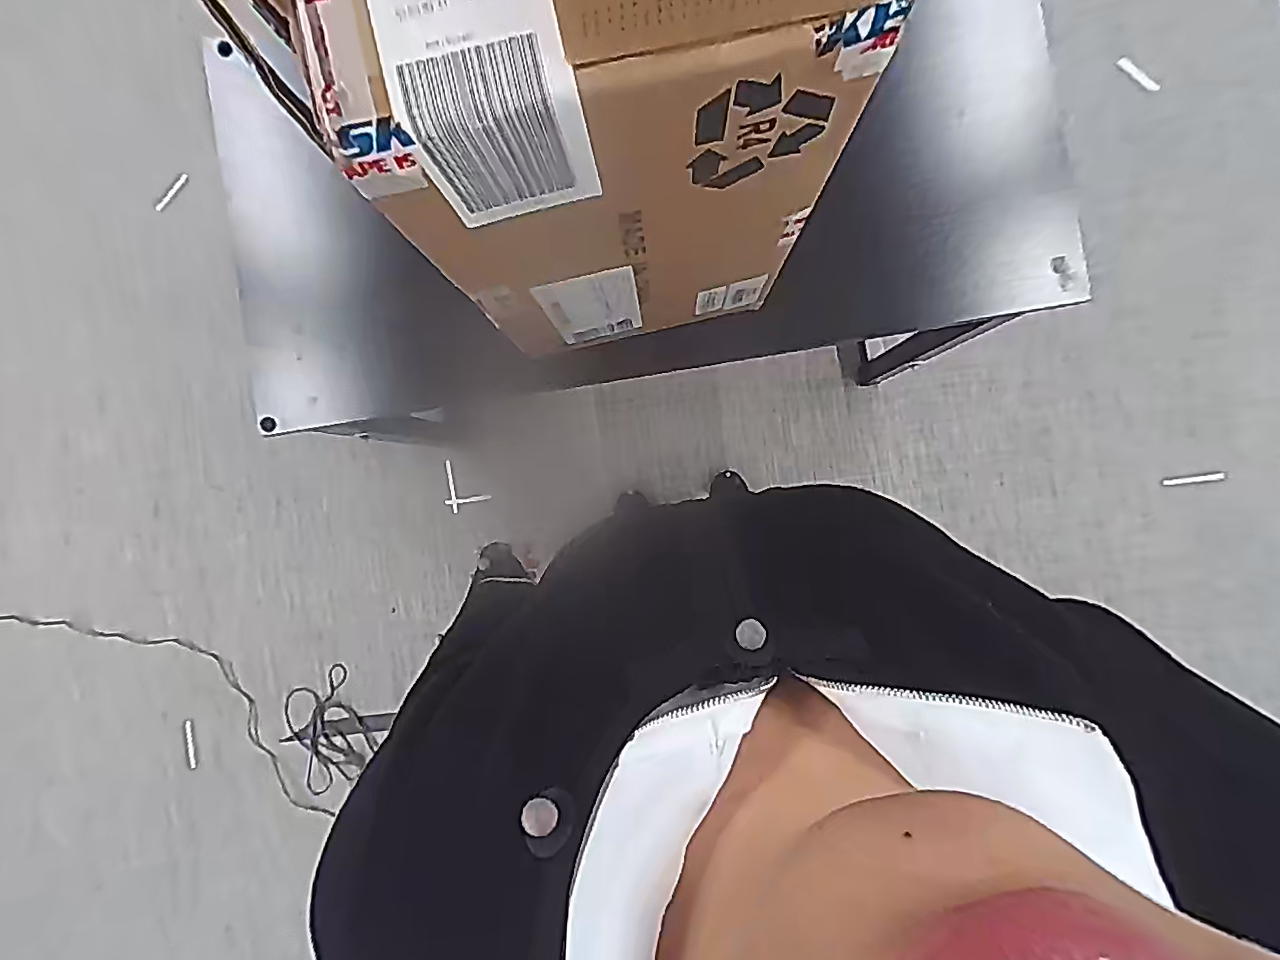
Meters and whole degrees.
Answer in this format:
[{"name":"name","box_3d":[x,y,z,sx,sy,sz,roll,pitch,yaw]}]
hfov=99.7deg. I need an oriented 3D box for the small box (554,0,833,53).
[{"name":"small box","box_3d":[0.029,-0.325,0.216,0.179,0.176,0.168,-11,89,3]}]
